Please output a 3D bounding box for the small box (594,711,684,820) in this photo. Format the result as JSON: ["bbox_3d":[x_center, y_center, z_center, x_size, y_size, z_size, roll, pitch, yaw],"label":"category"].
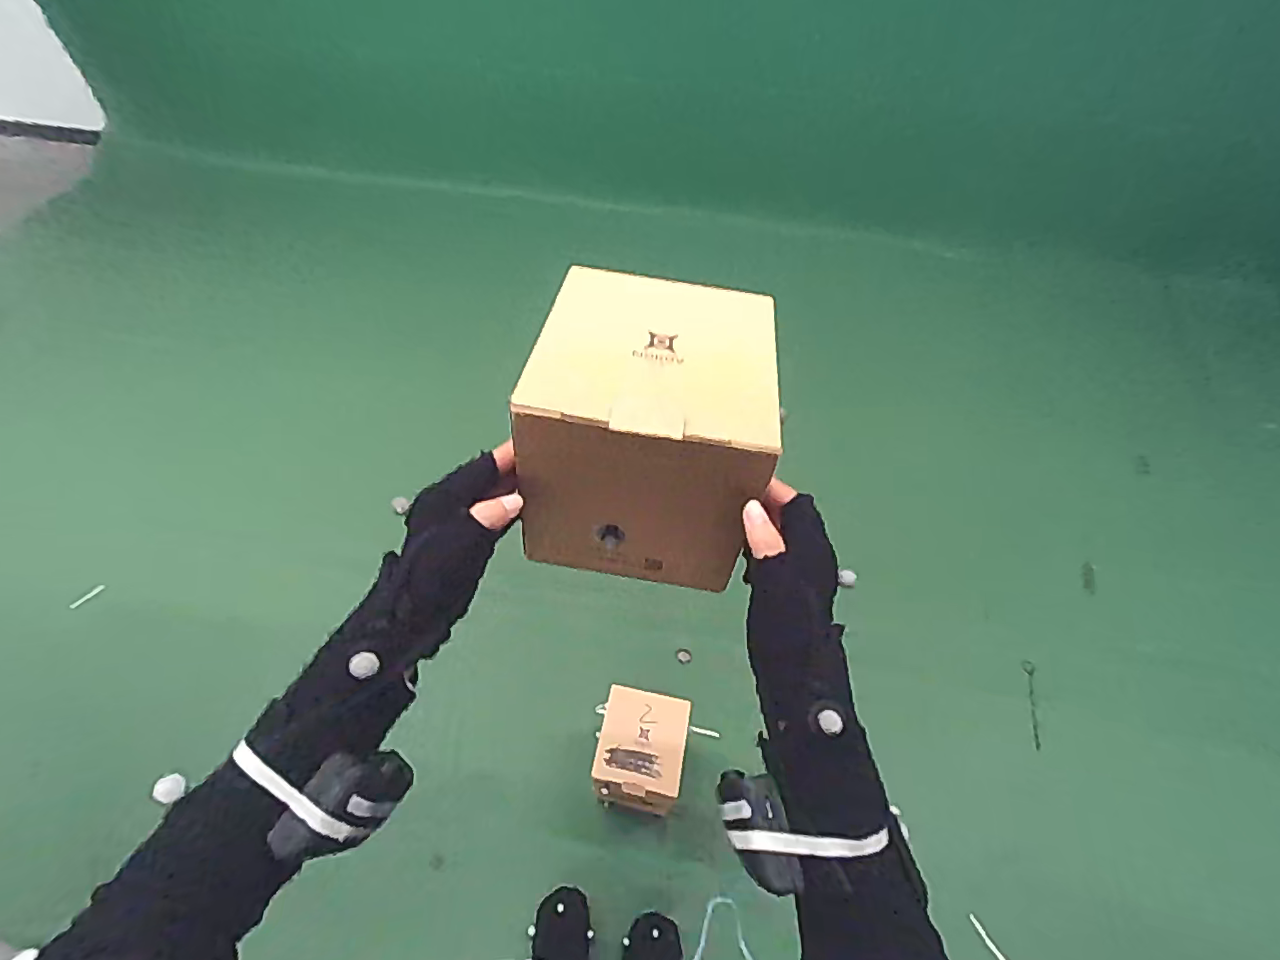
[{"bbox_3d":[0.000,0.656,1.233,0.168,0.176,0.179,11,54,6],"label":"small box"}]

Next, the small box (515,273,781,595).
[{"bbox_3d":[0.006,-0.034,0.435,0.168,0.176,0.179,9,50,1],"label":"small box"}]
